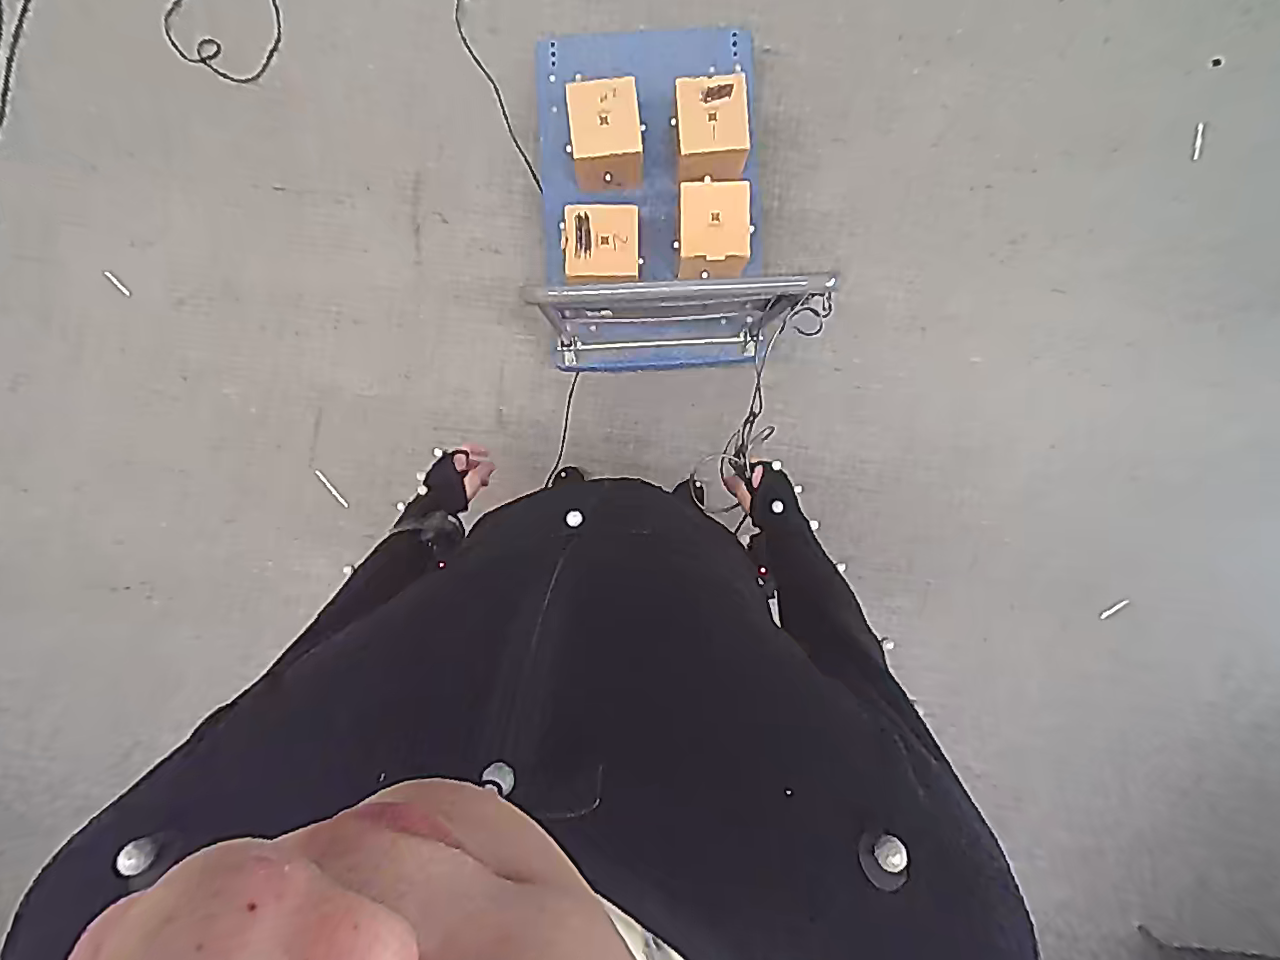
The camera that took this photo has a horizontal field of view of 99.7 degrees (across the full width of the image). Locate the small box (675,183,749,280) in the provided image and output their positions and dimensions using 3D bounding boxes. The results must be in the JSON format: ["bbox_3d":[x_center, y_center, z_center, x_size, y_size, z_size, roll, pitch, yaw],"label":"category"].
[{"bbox_3d":[0.176,-0.615,1.353,0.168,0.176,0.179,-1,93,0],"label":"small box"}]

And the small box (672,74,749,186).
[{"bbox_3d":[0.169,-0.857,1.341,0.168,0.176,0.179,-5,93,1],"label":"small box"}]

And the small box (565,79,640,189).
[{"bbox_3d":[-0.088,-0.846,1.343,0.168,0.176,0.179,-6,92,0],"label":"small box"}]
